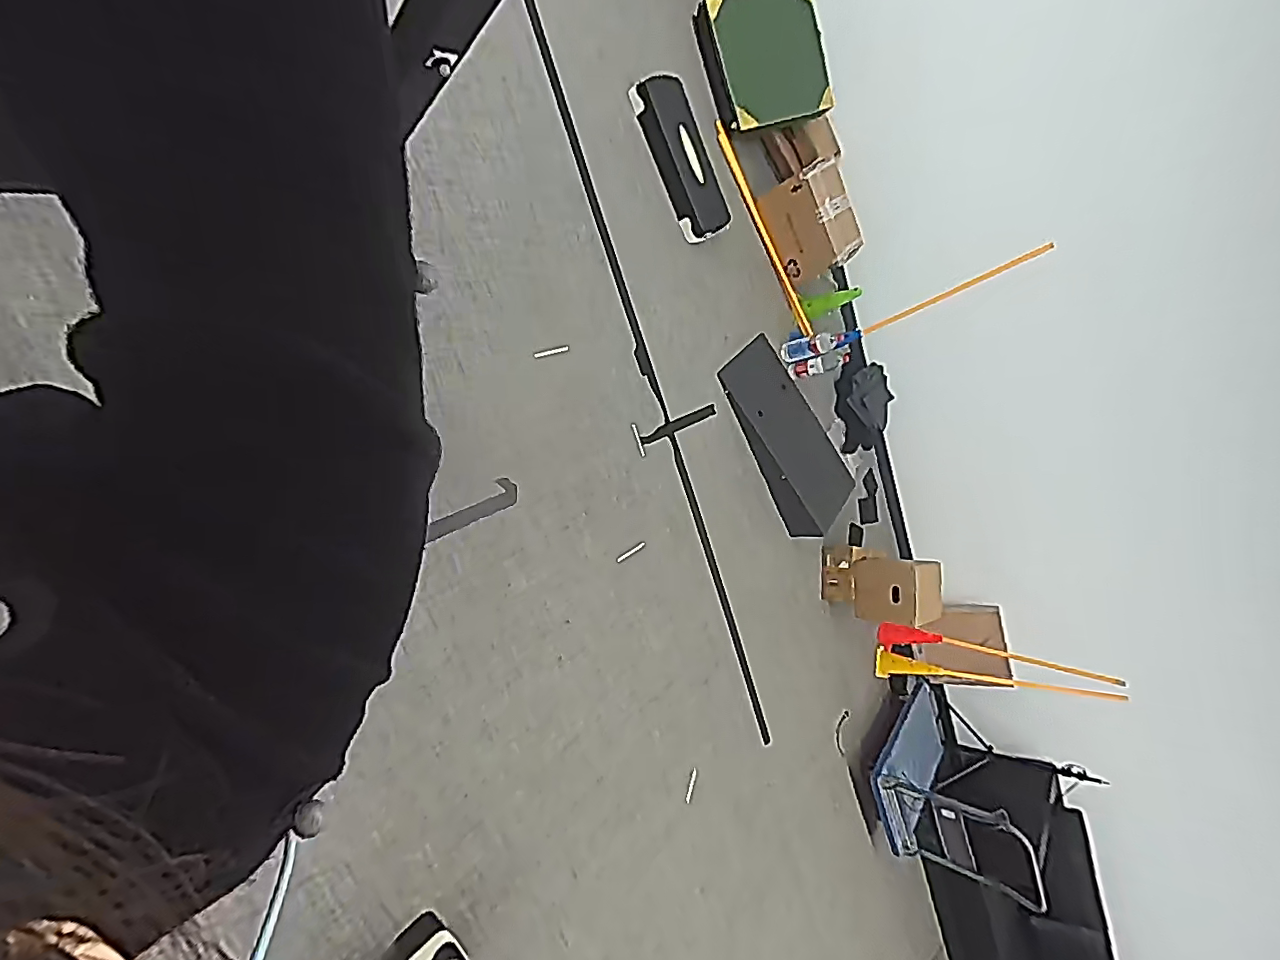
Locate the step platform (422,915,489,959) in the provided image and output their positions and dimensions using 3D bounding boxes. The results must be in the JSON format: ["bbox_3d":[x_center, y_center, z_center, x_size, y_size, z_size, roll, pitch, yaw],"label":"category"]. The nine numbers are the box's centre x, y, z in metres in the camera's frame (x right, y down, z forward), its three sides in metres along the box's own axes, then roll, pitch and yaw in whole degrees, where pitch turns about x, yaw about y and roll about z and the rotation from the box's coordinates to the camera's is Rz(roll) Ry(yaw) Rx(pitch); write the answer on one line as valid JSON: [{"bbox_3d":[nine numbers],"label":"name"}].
[{"bbox_3d":[-0.642,1.390,1.220,0.684,0.204,0.286,-21,99,-44],"label":"step platform"}]
